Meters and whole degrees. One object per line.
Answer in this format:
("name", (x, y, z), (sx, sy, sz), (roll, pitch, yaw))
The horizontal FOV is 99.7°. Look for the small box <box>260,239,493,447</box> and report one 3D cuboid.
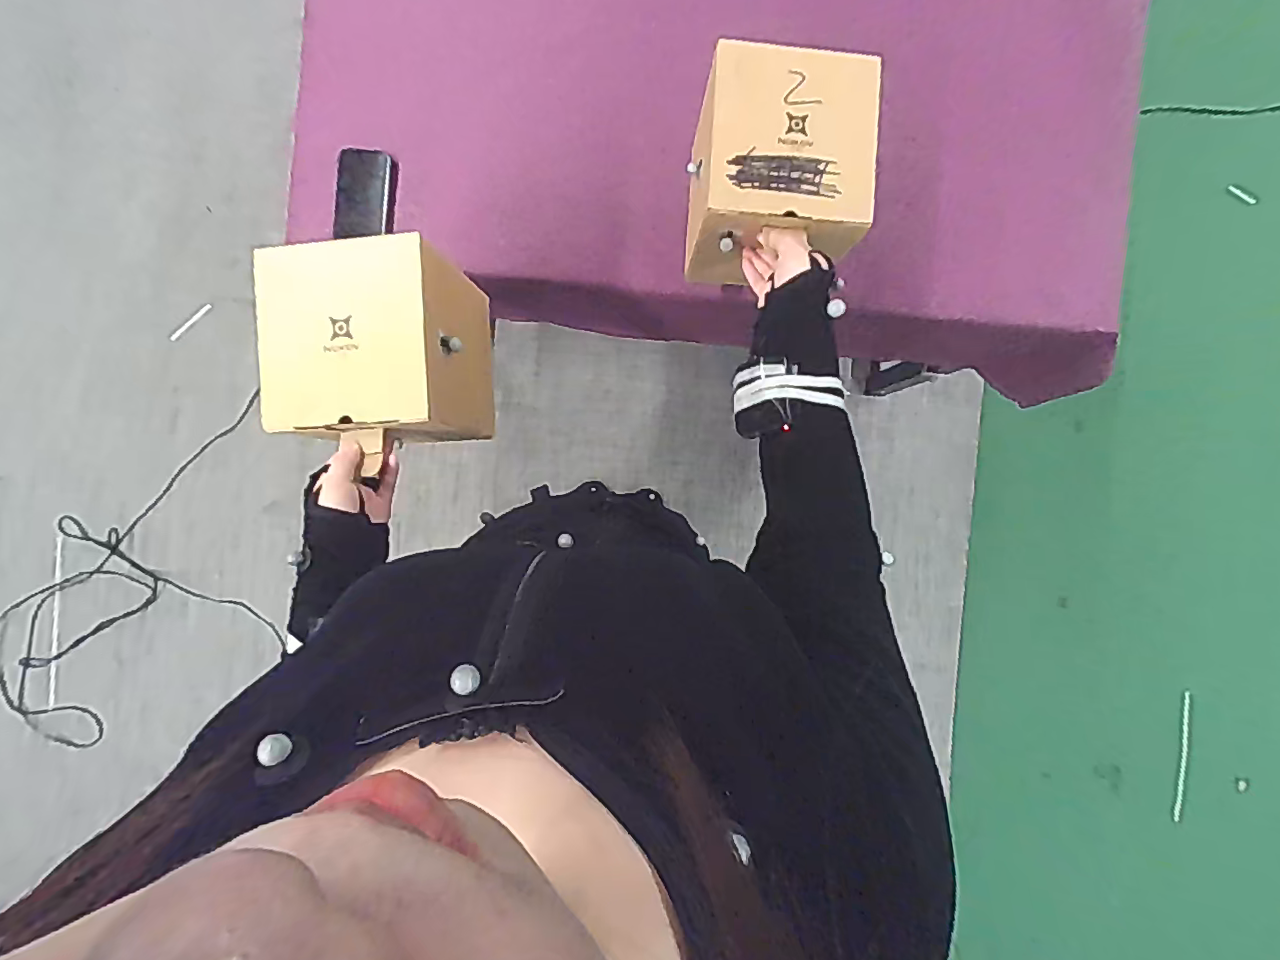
("small box", (-0.266, -0.131, 0.580), (0.168, 0.176, 0.179), (-3, 90, 4))
